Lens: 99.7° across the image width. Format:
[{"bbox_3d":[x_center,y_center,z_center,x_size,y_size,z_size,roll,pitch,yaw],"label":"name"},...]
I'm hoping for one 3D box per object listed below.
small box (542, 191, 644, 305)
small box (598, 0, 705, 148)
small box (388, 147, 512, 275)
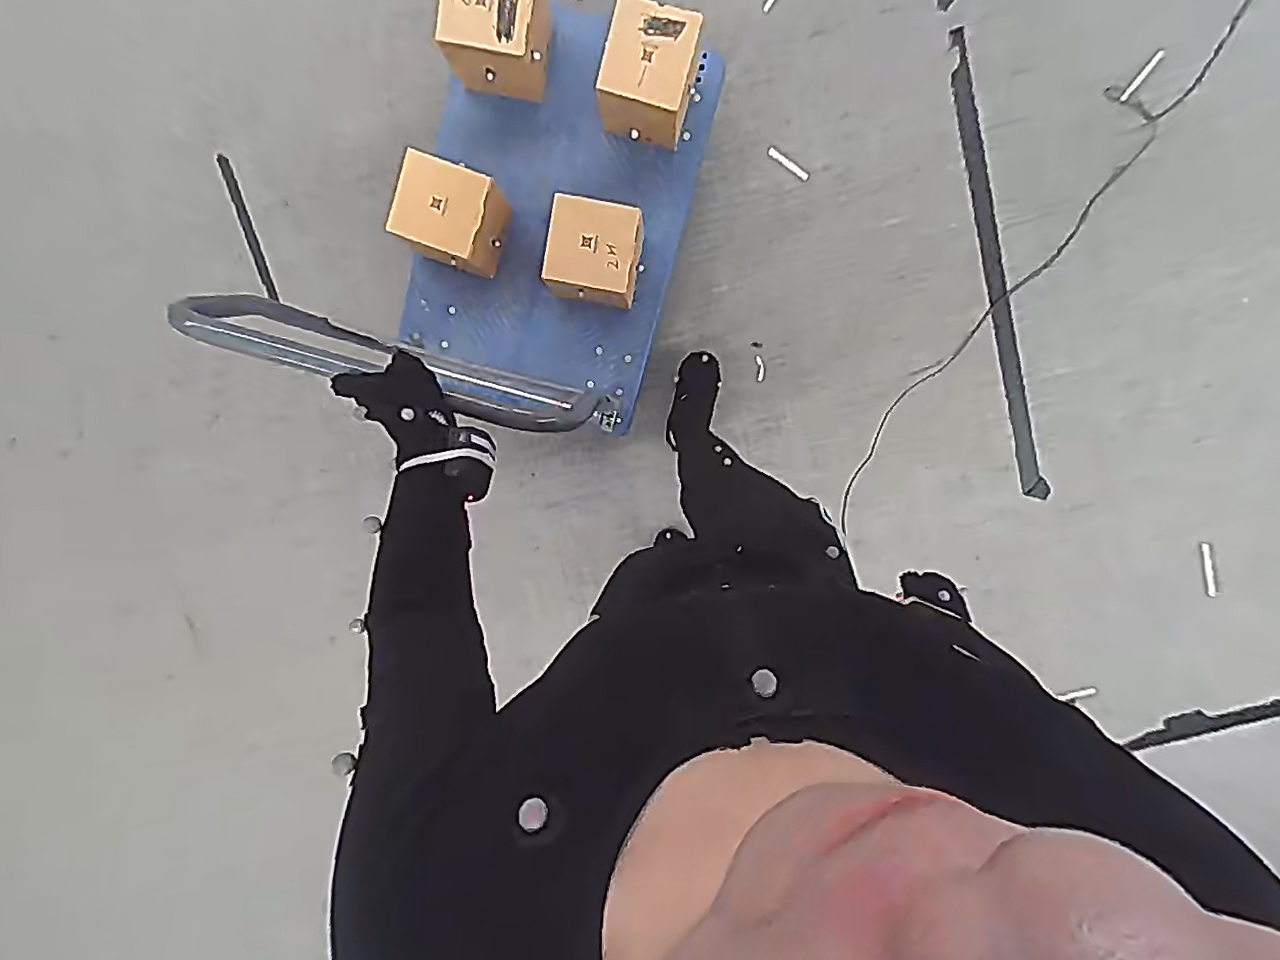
[{"bbox_3d":[-0.092,-0.478,1.142,0.179,0.176,0.168,11,98,0],"label":"small box"},{"bbox_3d":[0.022,-0.819,1.094,0.168,0.176,0.179,16,99,0],"label":"small box"},{"bbox_3d":[-0.392,-0.555,1.141,0.179,0.176,0.168,19,97,-3],"label":"small box"}]
